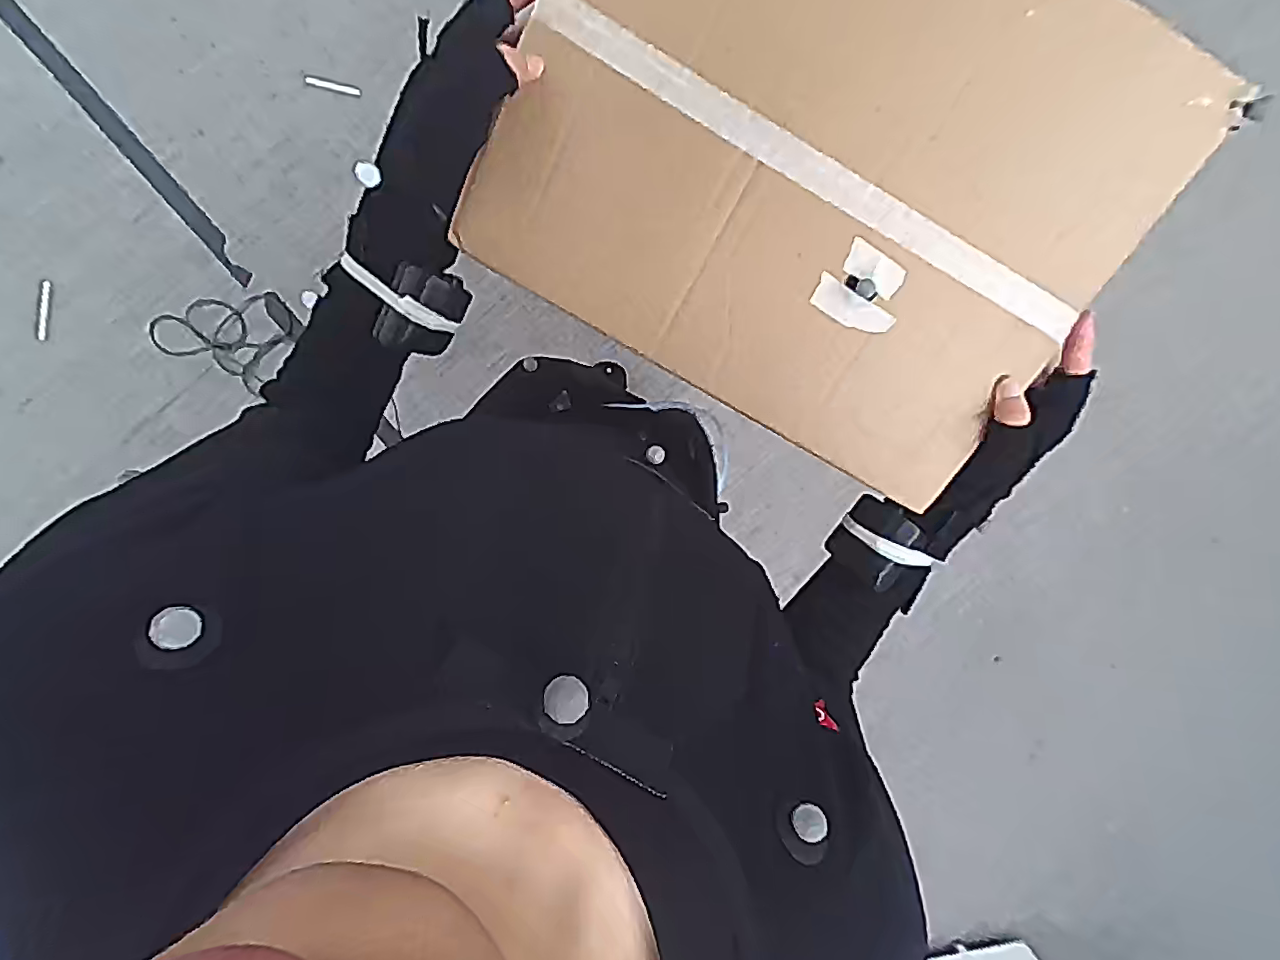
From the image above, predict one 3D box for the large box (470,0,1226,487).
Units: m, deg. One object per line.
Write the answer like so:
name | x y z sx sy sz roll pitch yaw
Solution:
large box | 0.128 -0.257 0.502 0.408 0.320 0.320 29 110 -6
